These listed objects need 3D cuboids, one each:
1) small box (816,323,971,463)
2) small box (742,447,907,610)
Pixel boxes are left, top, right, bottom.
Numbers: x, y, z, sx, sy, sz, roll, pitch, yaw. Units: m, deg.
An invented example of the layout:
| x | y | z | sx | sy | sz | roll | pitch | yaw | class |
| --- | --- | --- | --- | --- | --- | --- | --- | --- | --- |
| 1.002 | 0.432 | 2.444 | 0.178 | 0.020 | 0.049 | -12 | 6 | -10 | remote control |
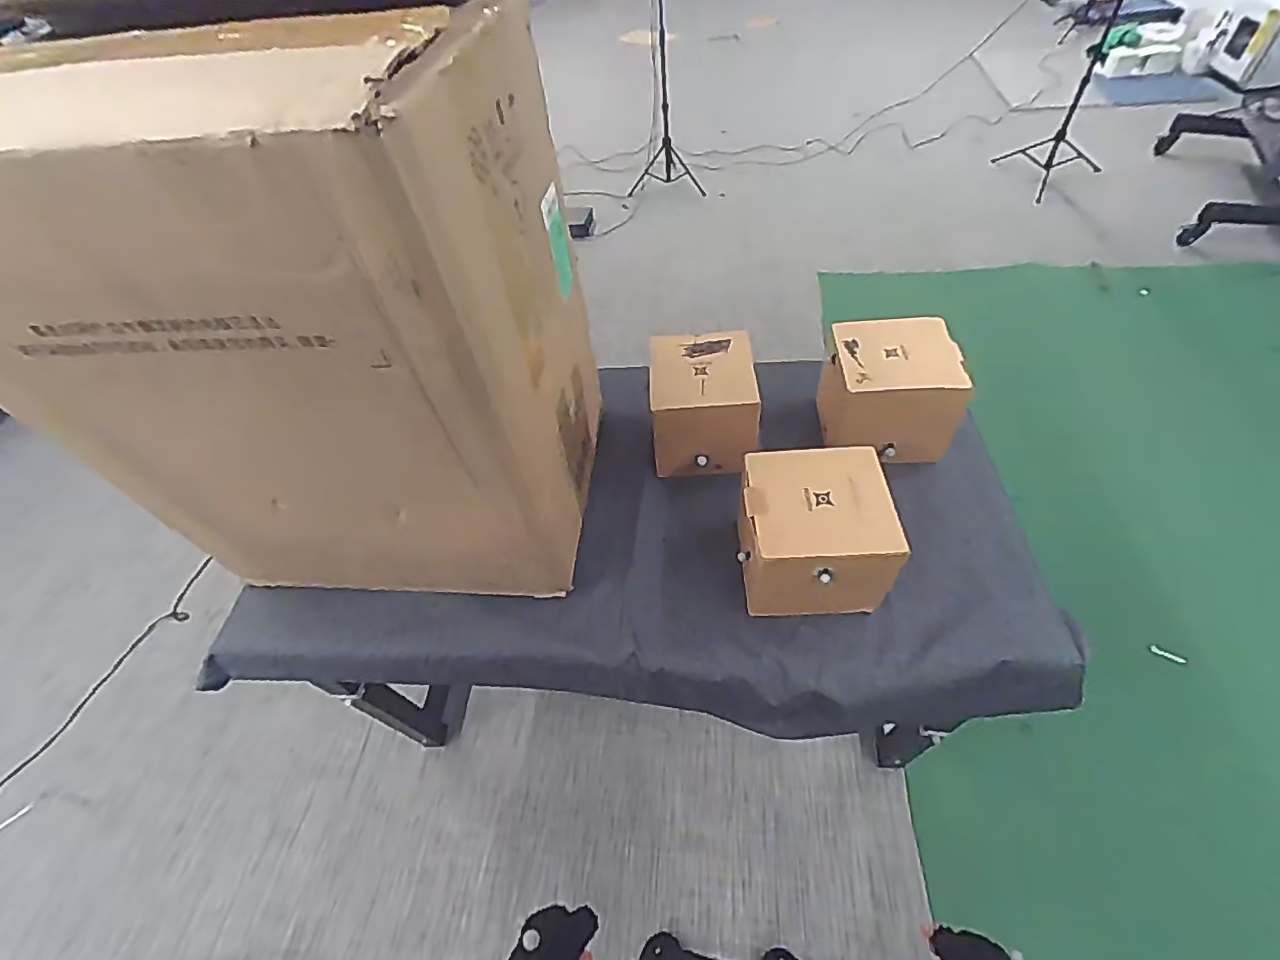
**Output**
| x | y | z | sx | sy | sz | roll | pitch | yaw | class |
| --- | --- | --- | --- | --- | --- | --- | --- | --- | --- |
| 0.406 | -0.141 | 0.900 | 0.179 | 0.176 | 0.168 | 0 | 51 | 6 | small box |
| 0.237 | 0.073 | 0.753 | 0.179 | 0.176 | 0.168 | -3 | 53 | 3 | small box |
